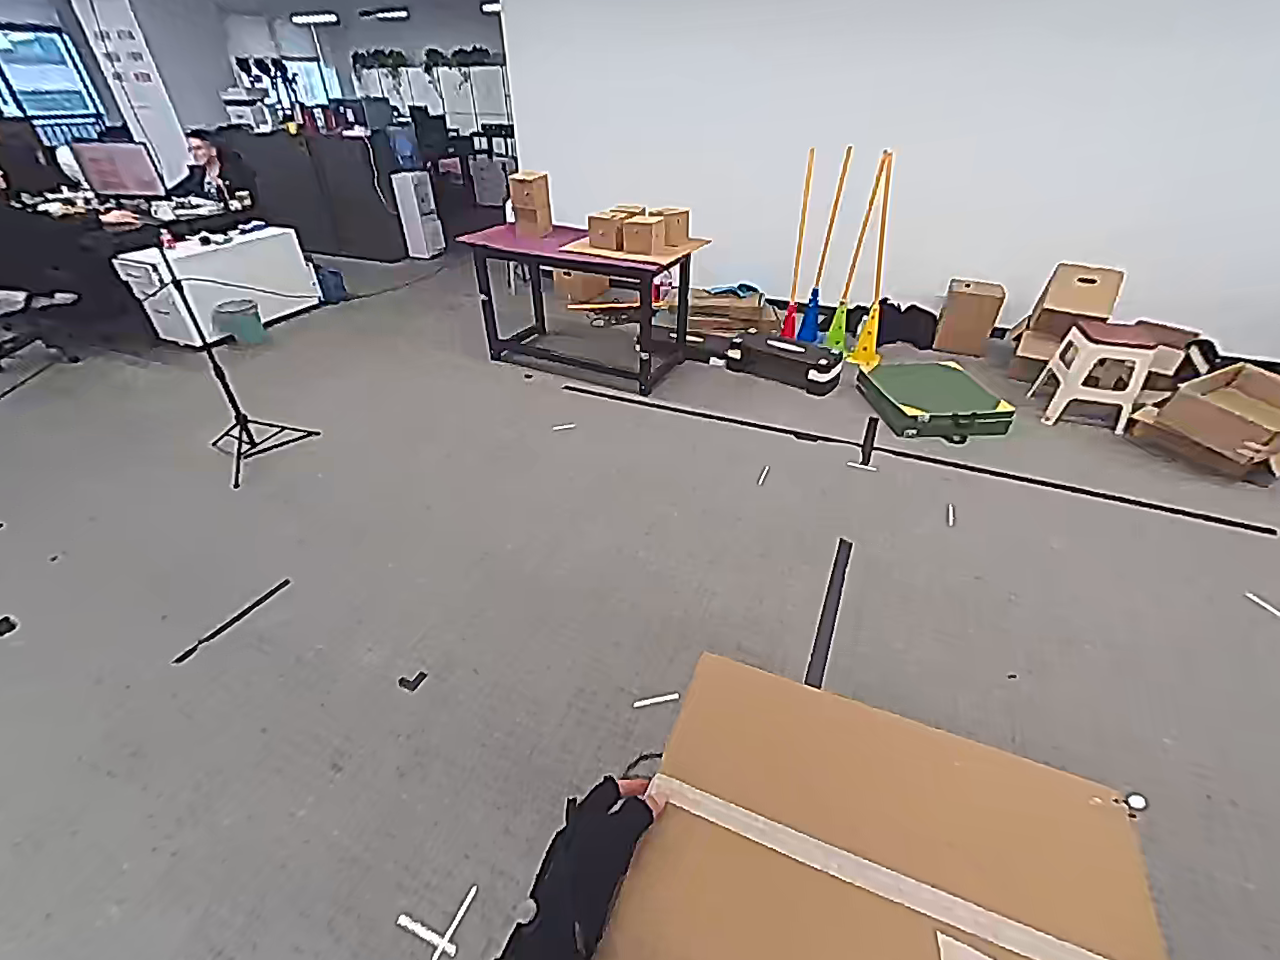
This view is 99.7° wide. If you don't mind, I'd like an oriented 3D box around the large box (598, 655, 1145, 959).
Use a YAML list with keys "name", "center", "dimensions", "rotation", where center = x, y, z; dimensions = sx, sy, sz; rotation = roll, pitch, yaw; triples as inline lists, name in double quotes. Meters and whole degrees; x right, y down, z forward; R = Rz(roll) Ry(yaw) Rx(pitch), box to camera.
- name: "large box"
  center: [0.207, 0.452, 0.566]
  dimensions: [0.408, 0.320, 0.320]
  rotation: [14, 43, 19]
